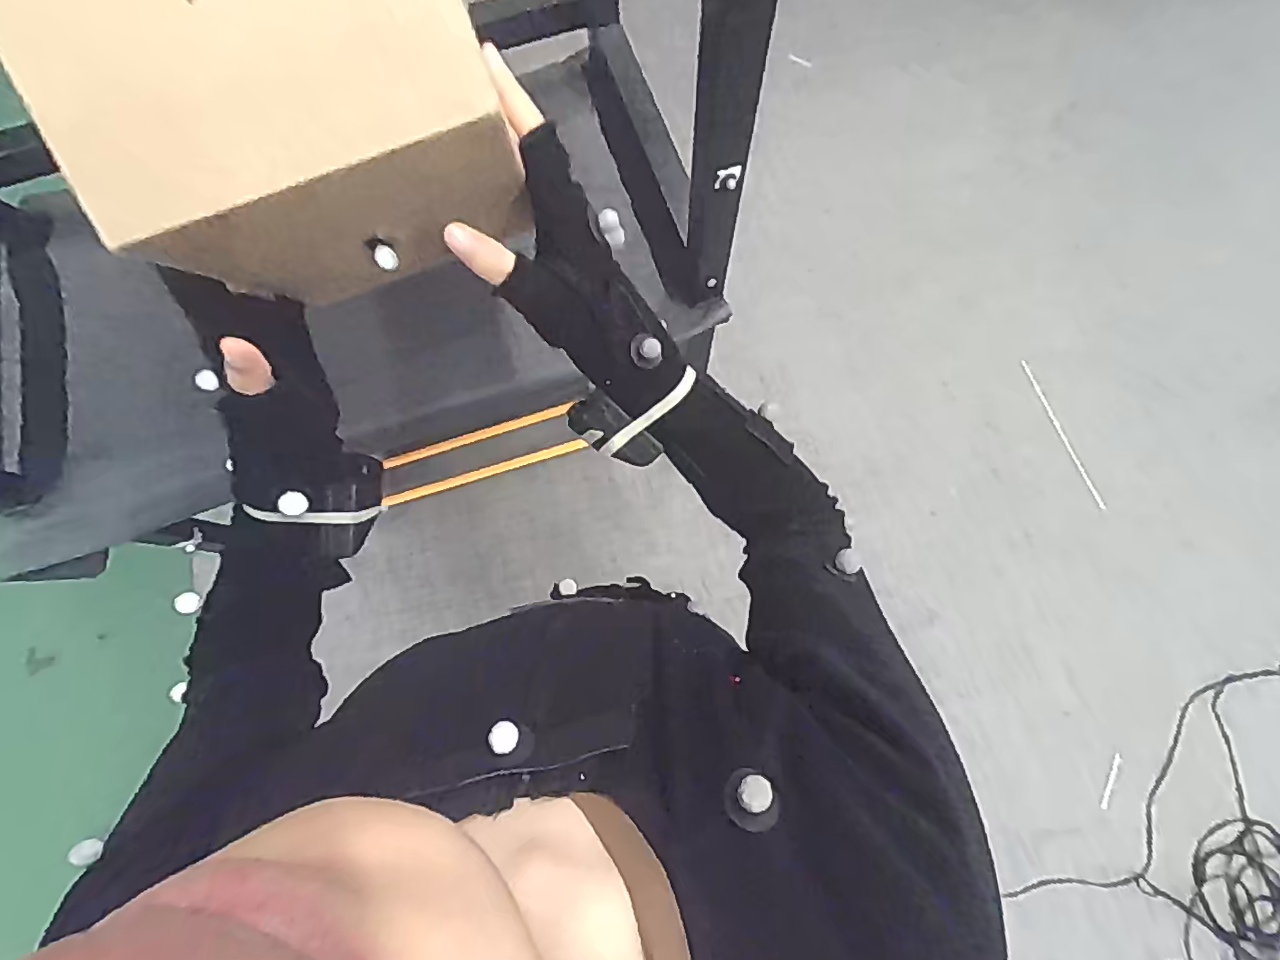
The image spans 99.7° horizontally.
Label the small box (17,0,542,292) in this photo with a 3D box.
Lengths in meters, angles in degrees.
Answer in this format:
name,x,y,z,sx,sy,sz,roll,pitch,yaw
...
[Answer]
name,x,y,z,sx,sy,sz,roll,pitch,yaw
small box,-0.161,-0.212,0.288,0.168,0.176,0.179,-20,102,-1
